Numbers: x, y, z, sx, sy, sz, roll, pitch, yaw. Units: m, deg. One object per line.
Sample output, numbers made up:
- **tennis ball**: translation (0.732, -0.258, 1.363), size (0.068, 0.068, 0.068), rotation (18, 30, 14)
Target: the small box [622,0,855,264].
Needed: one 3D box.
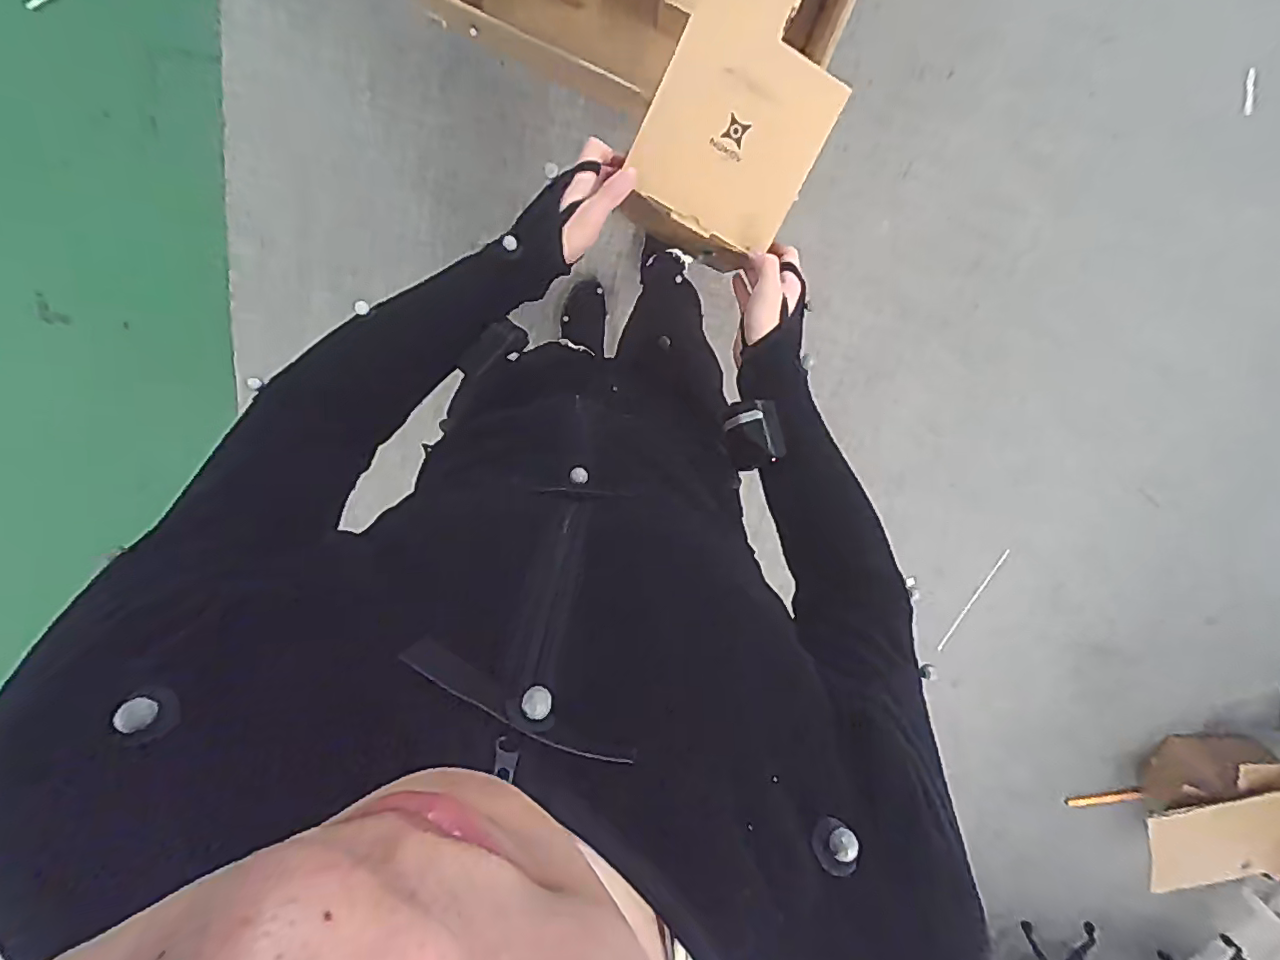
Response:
- **small box**: translation (0.089, -0.355, 0.588), size (0.168, 0.176, 0.179), rotation (25, 104, -12)
